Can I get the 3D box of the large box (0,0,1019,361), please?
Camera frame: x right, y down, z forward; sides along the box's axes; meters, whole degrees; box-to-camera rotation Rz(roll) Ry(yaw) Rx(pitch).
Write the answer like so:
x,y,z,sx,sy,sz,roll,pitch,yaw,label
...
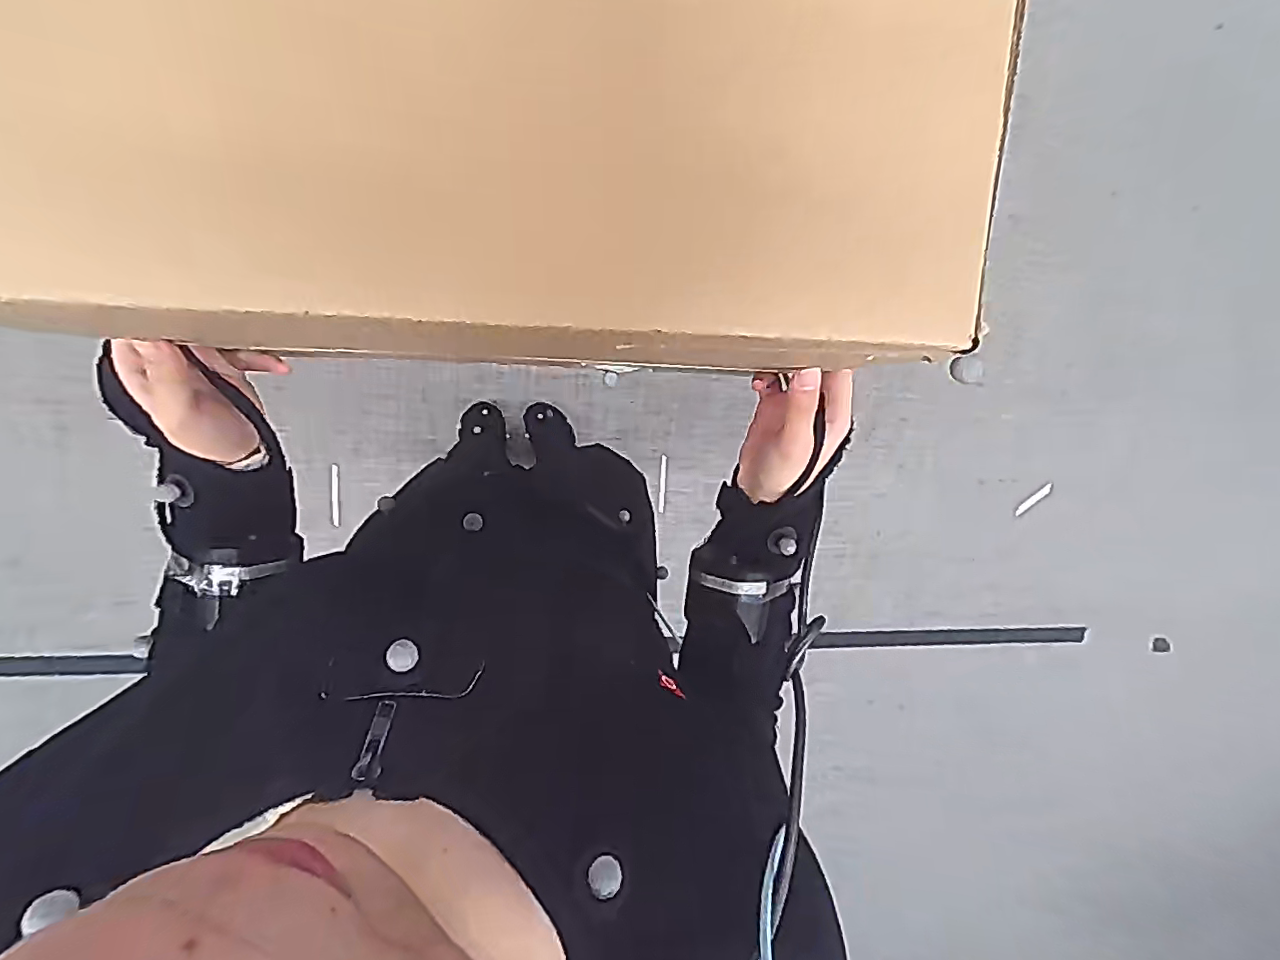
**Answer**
x,y,z,sx,sy,sz,roll,pitch,yaw,label
-0.078,-0.240,0.307,0.408,0.320,0.320,1,100,-5,large box
